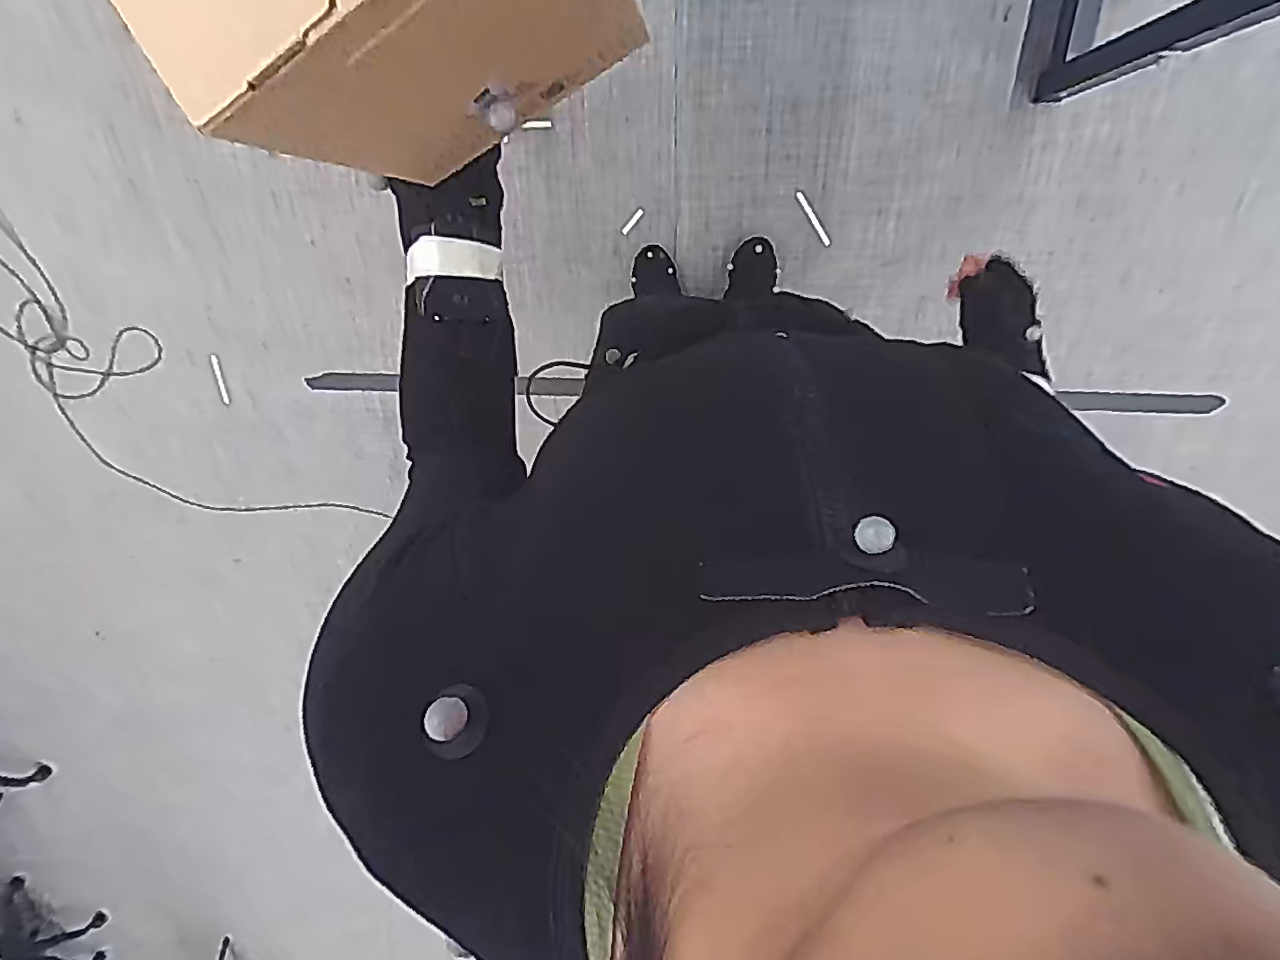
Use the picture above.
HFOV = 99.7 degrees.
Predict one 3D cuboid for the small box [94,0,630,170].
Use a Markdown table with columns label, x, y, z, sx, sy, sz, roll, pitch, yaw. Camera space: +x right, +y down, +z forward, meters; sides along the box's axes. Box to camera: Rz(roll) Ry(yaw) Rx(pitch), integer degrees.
| label | x | y | z | sx | sy | sz | roll | pitch | yaw |
| --- | --- | --- | --- | --- | --- | --- | --- | --- | --- |
| small box | -0.121 | -0.262 | 0.232 | 0.168 | 0.176 | 0.179 | -16 | 111 | 19 |
